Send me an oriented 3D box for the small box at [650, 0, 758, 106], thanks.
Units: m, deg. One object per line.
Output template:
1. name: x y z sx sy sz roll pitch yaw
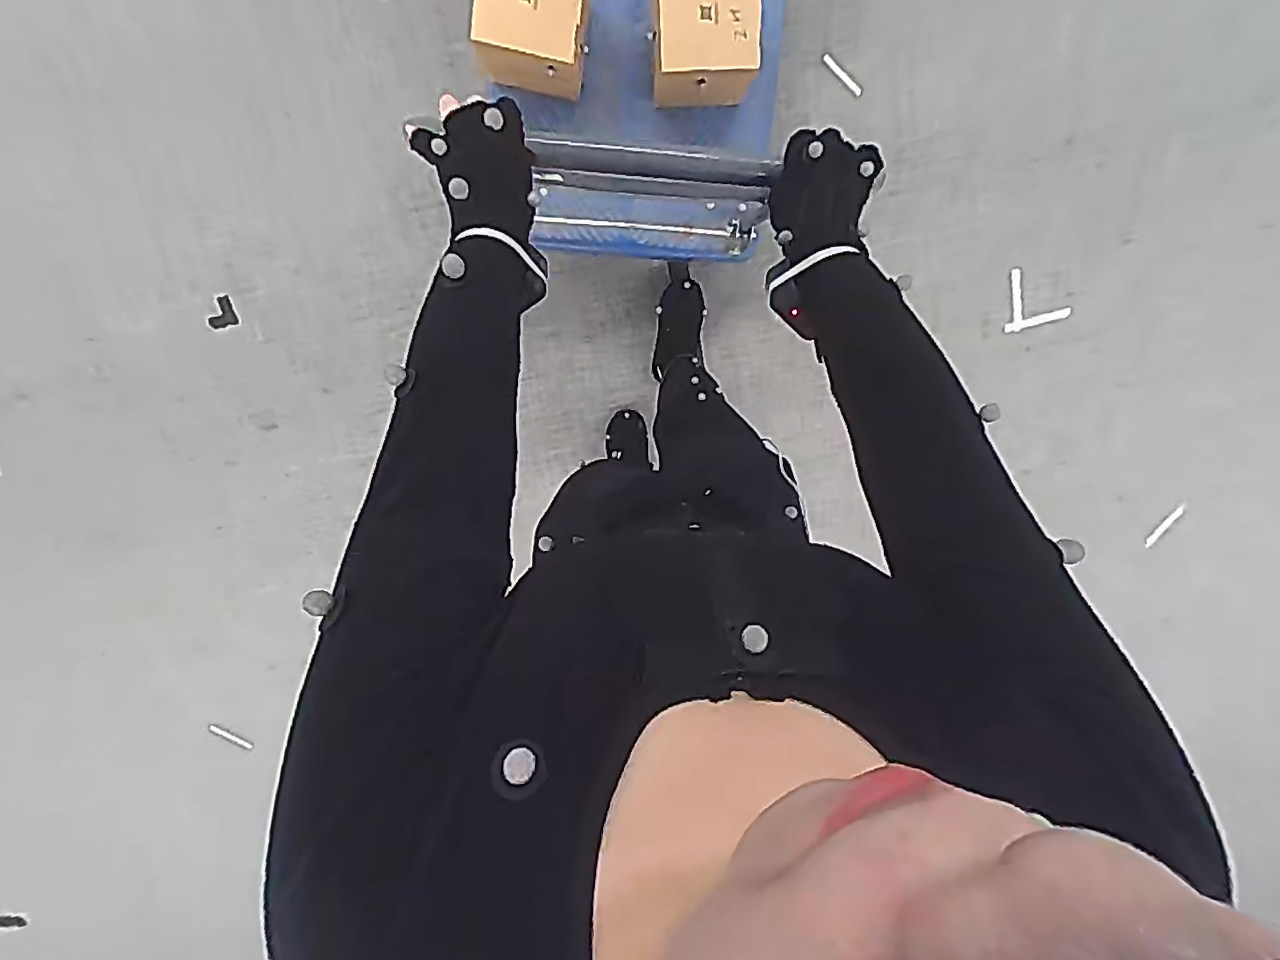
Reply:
1. small box: 0.109 -0.806 0.985 0.179 0.176 0.168 -3 107 -2

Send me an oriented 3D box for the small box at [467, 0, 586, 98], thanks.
1. small box: -0.195 -0.818 0.965 0.179 0.176 0.168 8 105 -7
